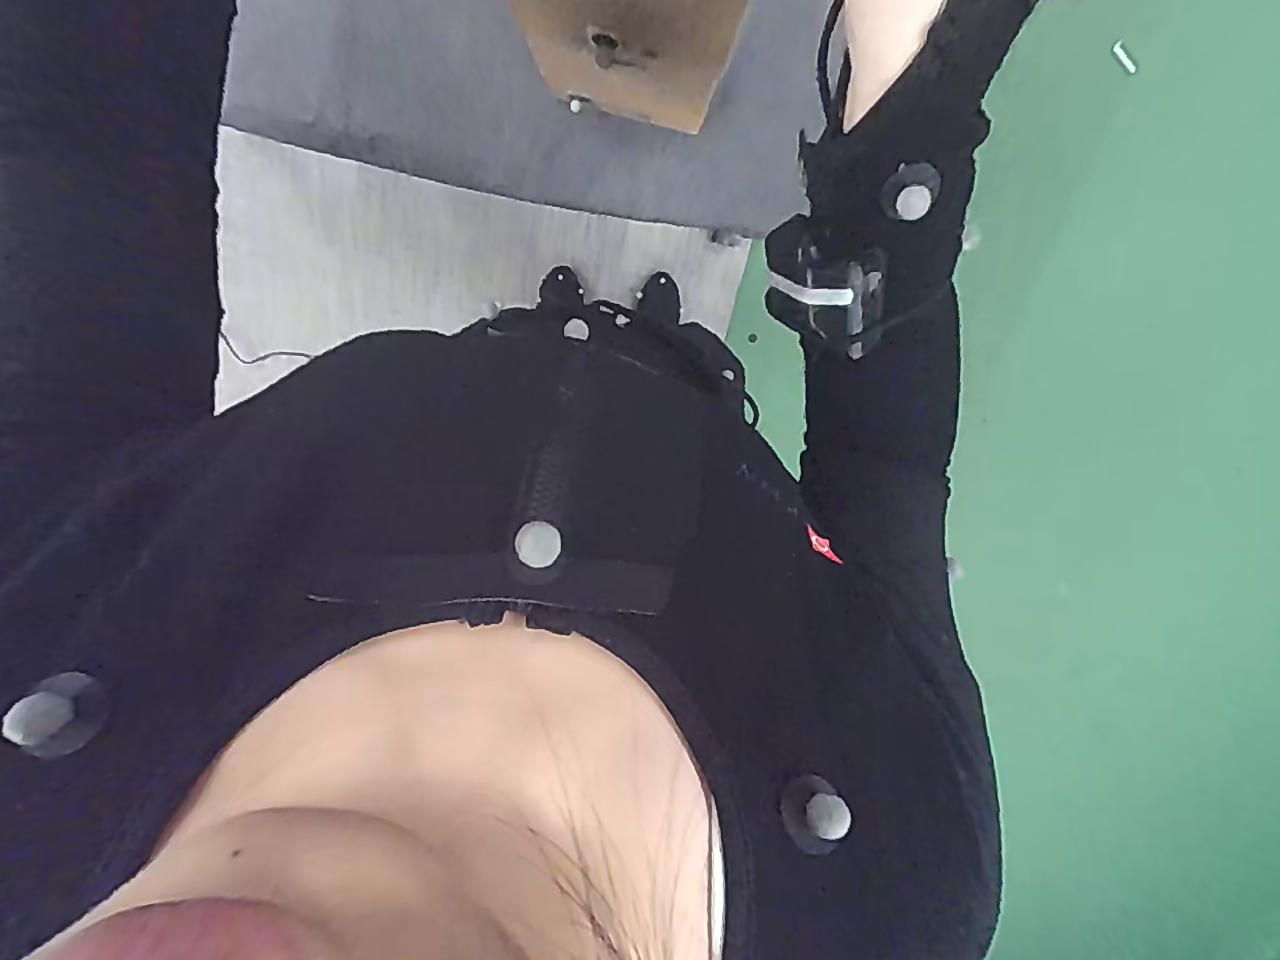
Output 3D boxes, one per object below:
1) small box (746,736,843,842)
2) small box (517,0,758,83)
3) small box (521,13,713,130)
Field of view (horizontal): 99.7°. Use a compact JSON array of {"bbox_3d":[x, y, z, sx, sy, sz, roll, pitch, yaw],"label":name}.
[{"bbox_3d":[0.400,0.812,1.431,0.179,0.176,0.168,15,112,-6],"label":"small box"},{"bbox_3d":[0.002,-0.389,0.336,0.168,0.176,0.179,8,110,-2],"label":"small box"},{"bbox_3d":[0.002,-0.448,0.488,0.168,0.176,0.179,12,108,-4],"label":"small box"}]
